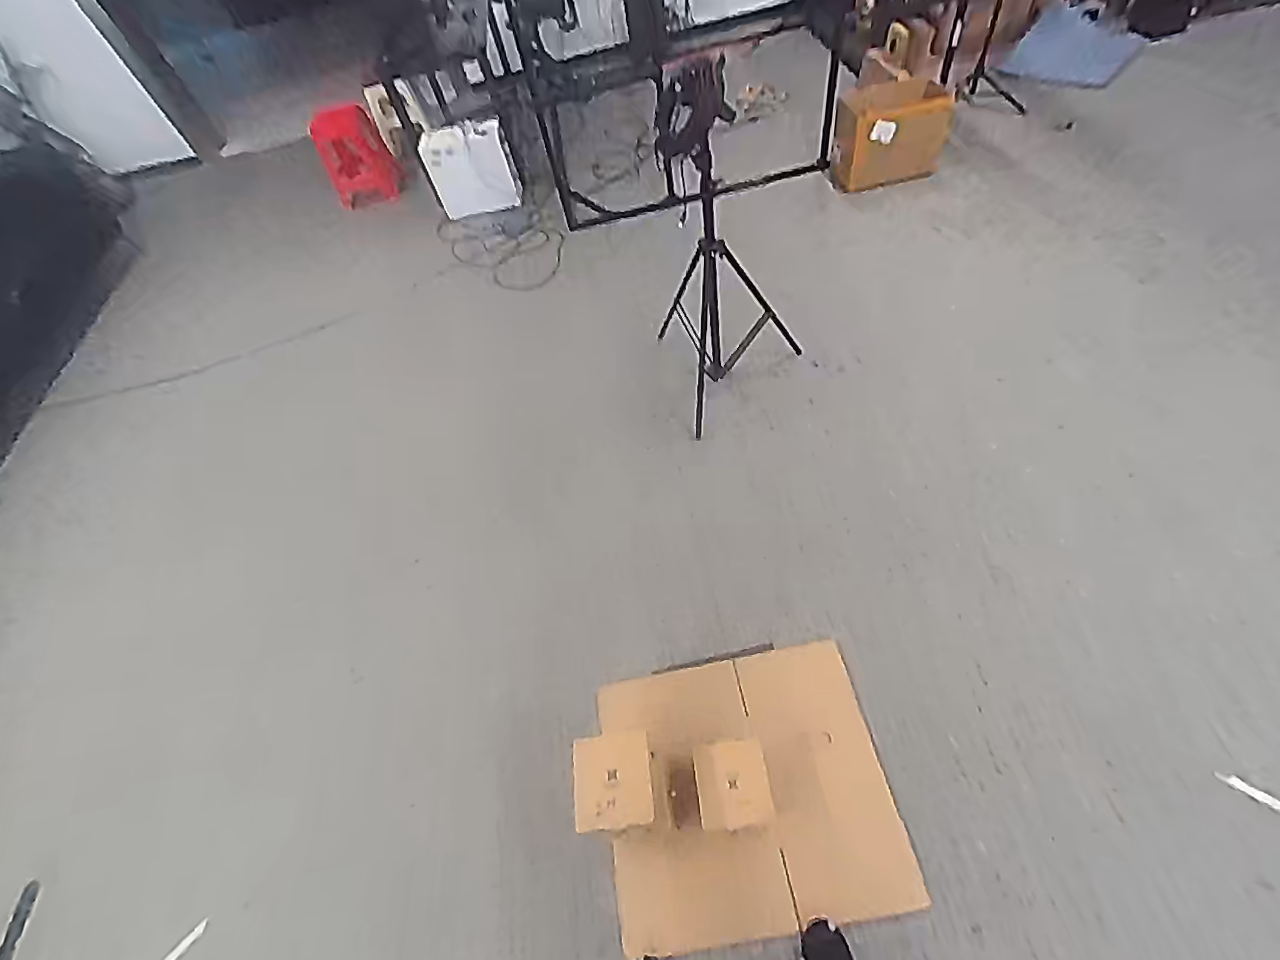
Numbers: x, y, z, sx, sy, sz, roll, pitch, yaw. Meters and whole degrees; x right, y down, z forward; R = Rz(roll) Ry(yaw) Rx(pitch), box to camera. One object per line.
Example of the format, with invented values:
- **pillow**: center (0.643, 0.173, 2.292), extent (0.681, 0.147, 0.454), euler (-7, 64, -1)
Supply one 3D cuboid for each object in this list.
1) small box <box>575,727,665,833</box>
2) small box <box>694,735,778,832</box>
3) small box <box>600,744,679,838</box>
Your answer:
- **small box**: center (-0.043, 0.661, 1.185), extent (0.168, 0.176, 0.179), euler (-10, 55, 5)
- **small box**: center (0.223, 0.727, 1.289), extent (0.168, 0.176, 0.179), euler (-9, 55, 4)
- **small box**: center (-0.005, 0.757, 1.314), extent (0.168, 0.176, 0.179), euler (-11, 55, 5)
